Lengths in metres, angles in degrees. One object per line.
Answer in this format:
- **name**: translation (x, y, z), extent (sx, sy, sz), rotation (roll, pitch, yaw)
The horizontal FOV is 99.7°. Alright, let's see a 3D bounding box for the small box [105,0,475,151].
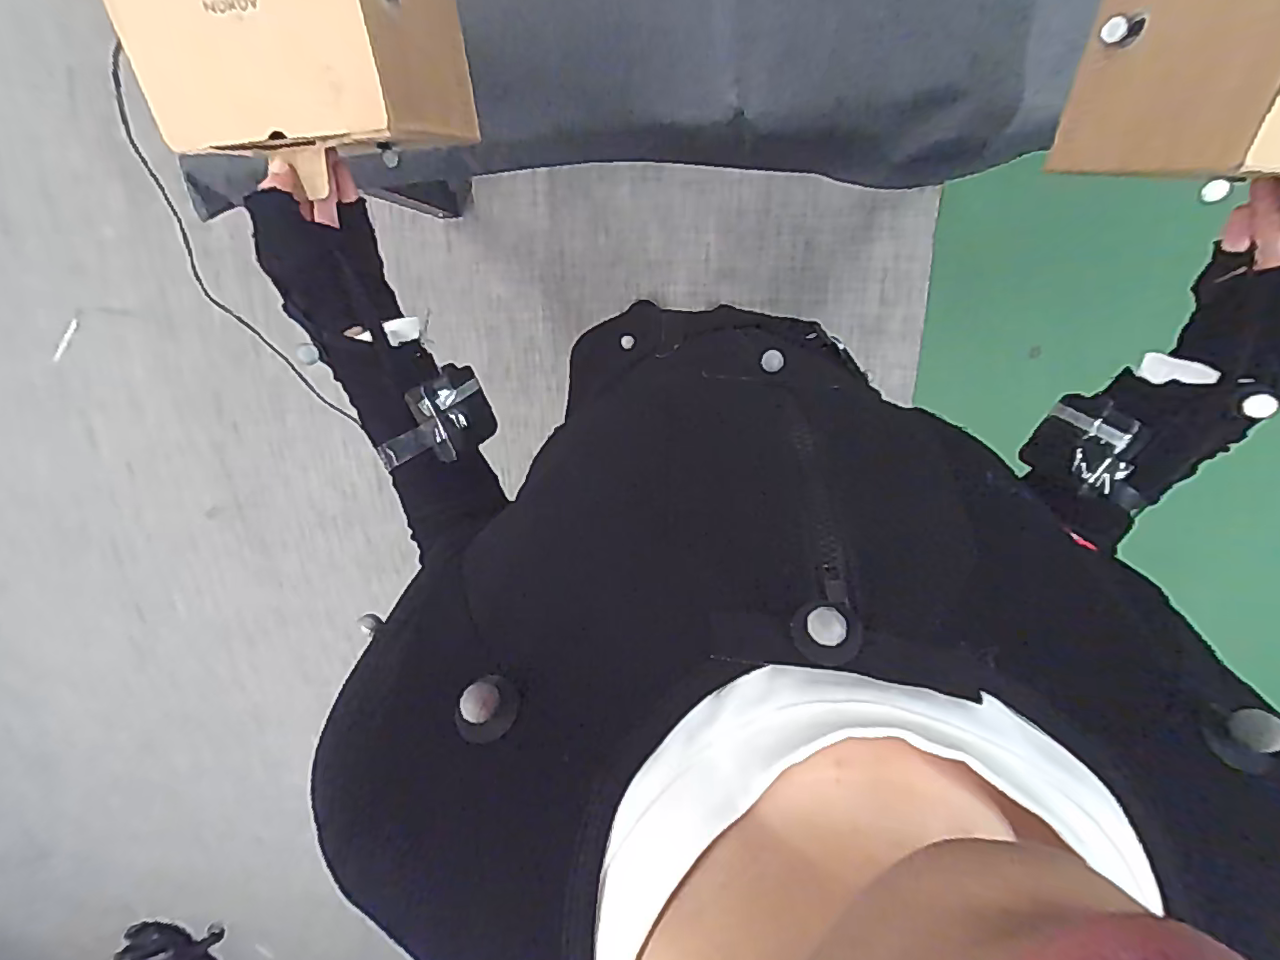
- **small box**: translation (-0.235, -0.342, 0.383), extent (0.168, 0.176, 0.179), rotation (-1, 120, 7)

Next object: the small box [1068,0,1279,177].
- **small box**: translation (0.424, -0.291, 0.337), extent (0.168, 0.176, 0.179), rotation (1, 121, -2)
